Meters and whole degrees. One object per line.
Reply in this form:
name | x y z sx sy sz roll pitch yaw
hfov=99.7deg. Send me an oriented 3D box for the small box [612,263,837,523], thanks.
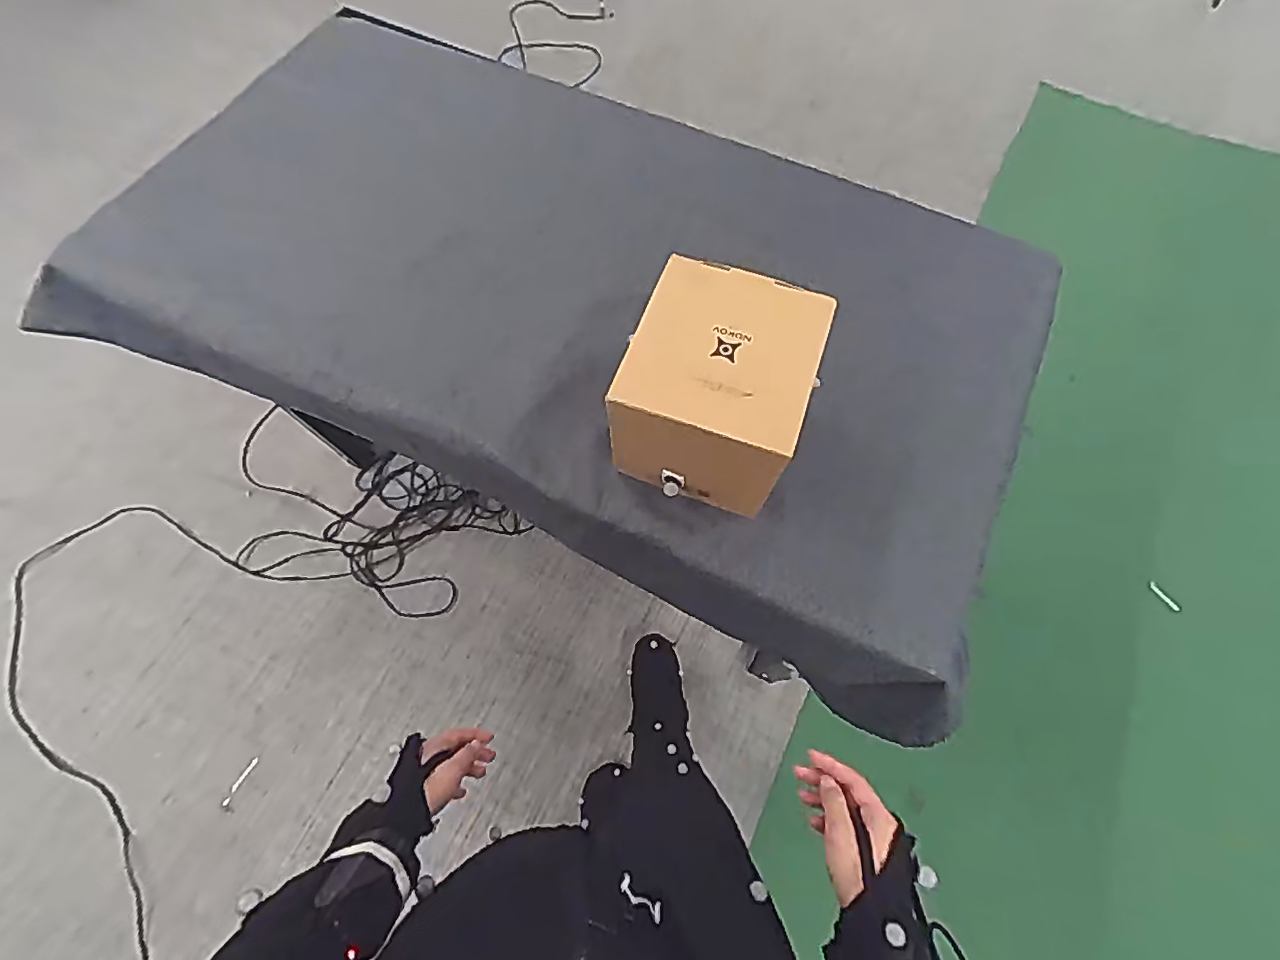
small box | 0.079 -0.080 0.554 0.168 0.176 0.179 18 69 8
